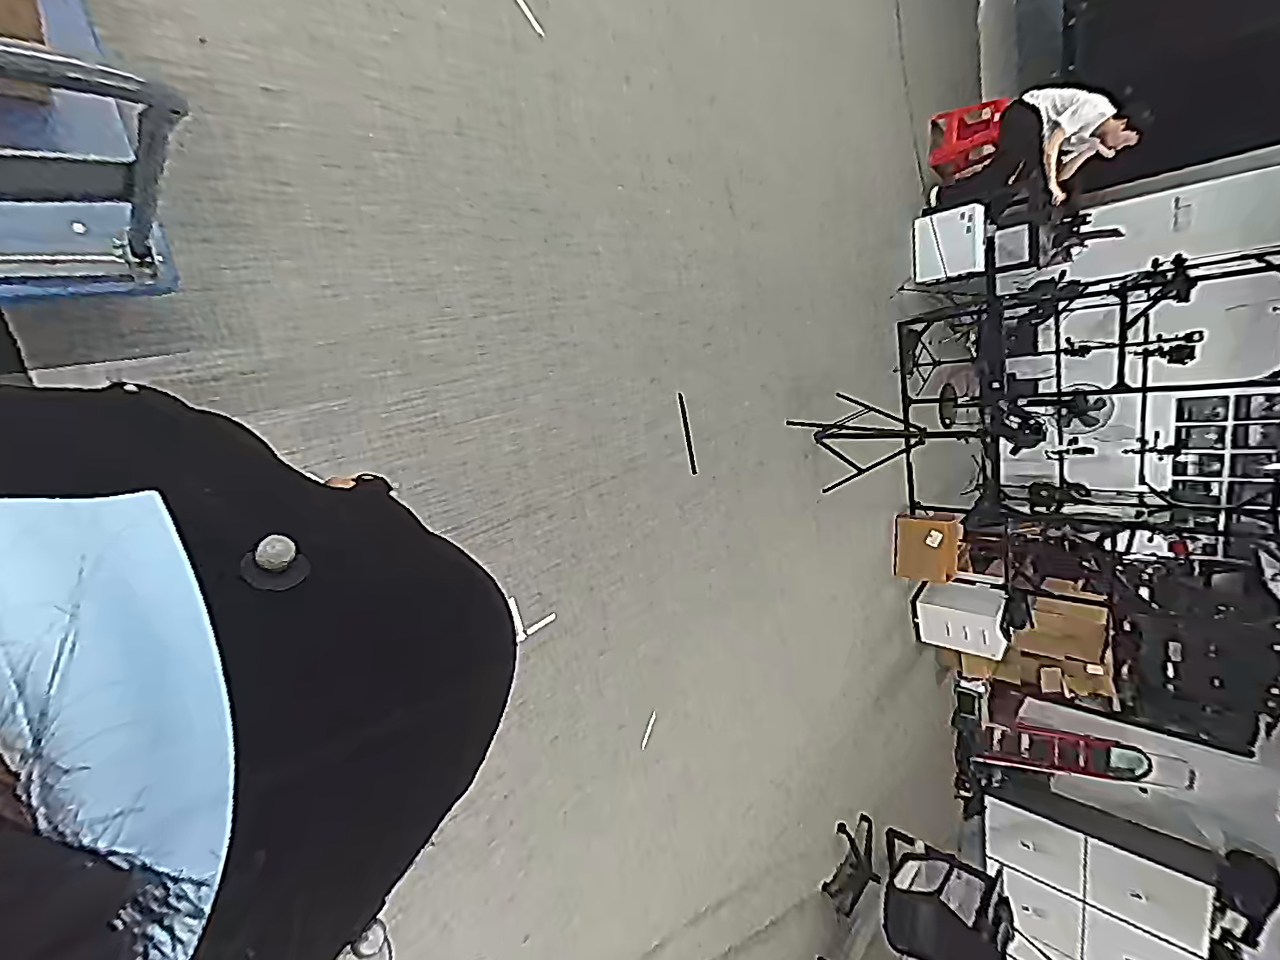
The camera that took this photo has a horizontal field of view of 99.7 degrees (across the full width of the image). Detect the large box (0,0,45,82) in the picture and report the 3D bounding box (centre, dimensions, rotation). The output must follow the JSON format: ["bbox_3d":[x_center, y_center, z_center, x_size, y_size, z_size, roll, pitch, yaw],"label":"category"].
[{"bbox_3d":[-1.036,-0.732,0.620,0.408,0.320,0.320,-20,106,-42],"label":"large box"}]
